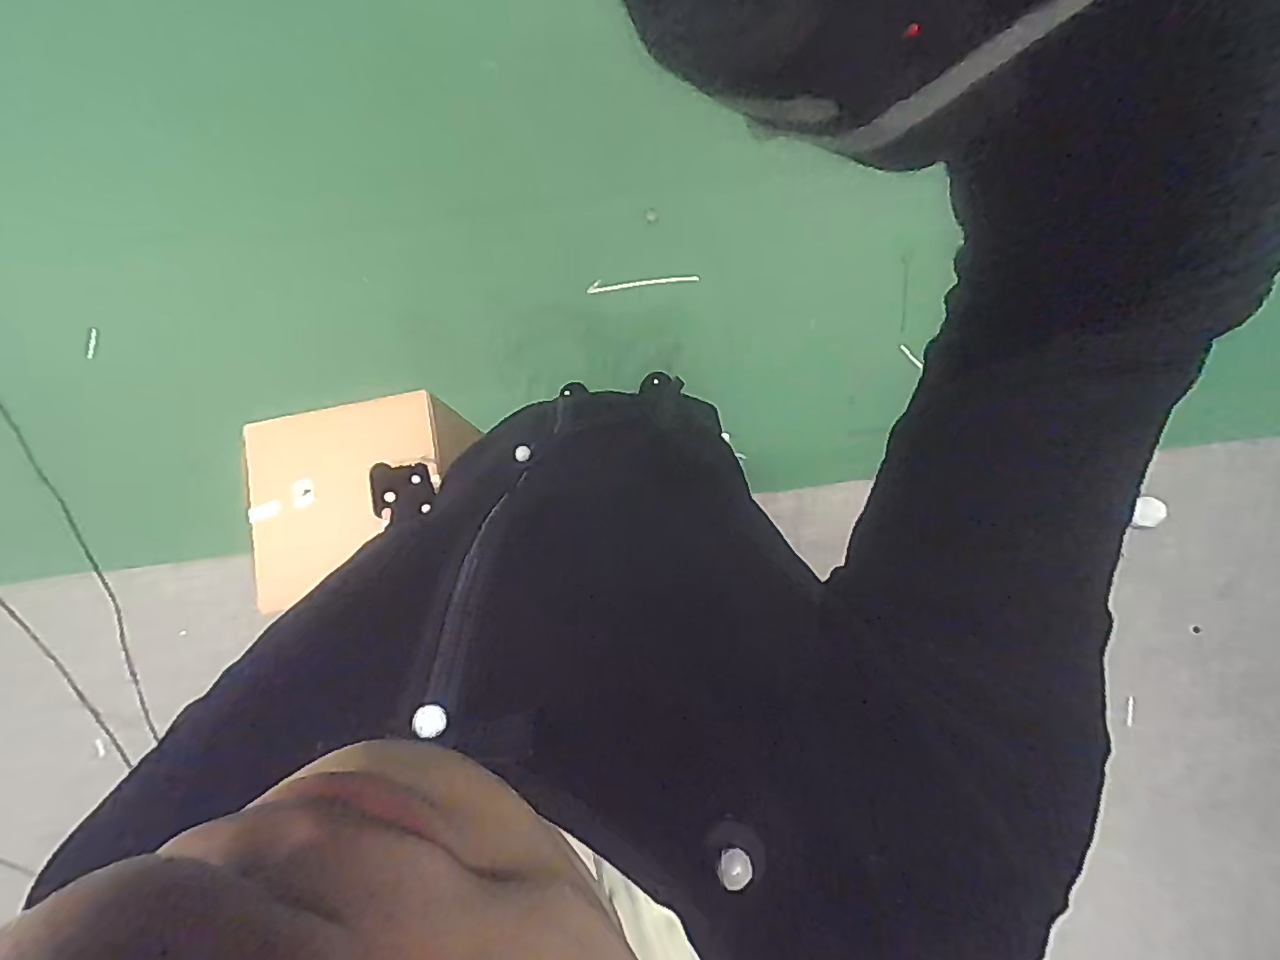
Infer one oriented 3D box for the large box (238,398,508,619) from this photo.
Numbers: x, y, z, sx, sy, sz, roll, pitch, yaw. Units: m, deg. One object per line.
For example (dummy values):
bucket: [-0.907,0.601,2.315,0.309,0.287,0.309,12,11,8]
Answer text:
large box: [-0.479,0.069,1.052,0.320,0.408,0.320,-11,81,-2]
